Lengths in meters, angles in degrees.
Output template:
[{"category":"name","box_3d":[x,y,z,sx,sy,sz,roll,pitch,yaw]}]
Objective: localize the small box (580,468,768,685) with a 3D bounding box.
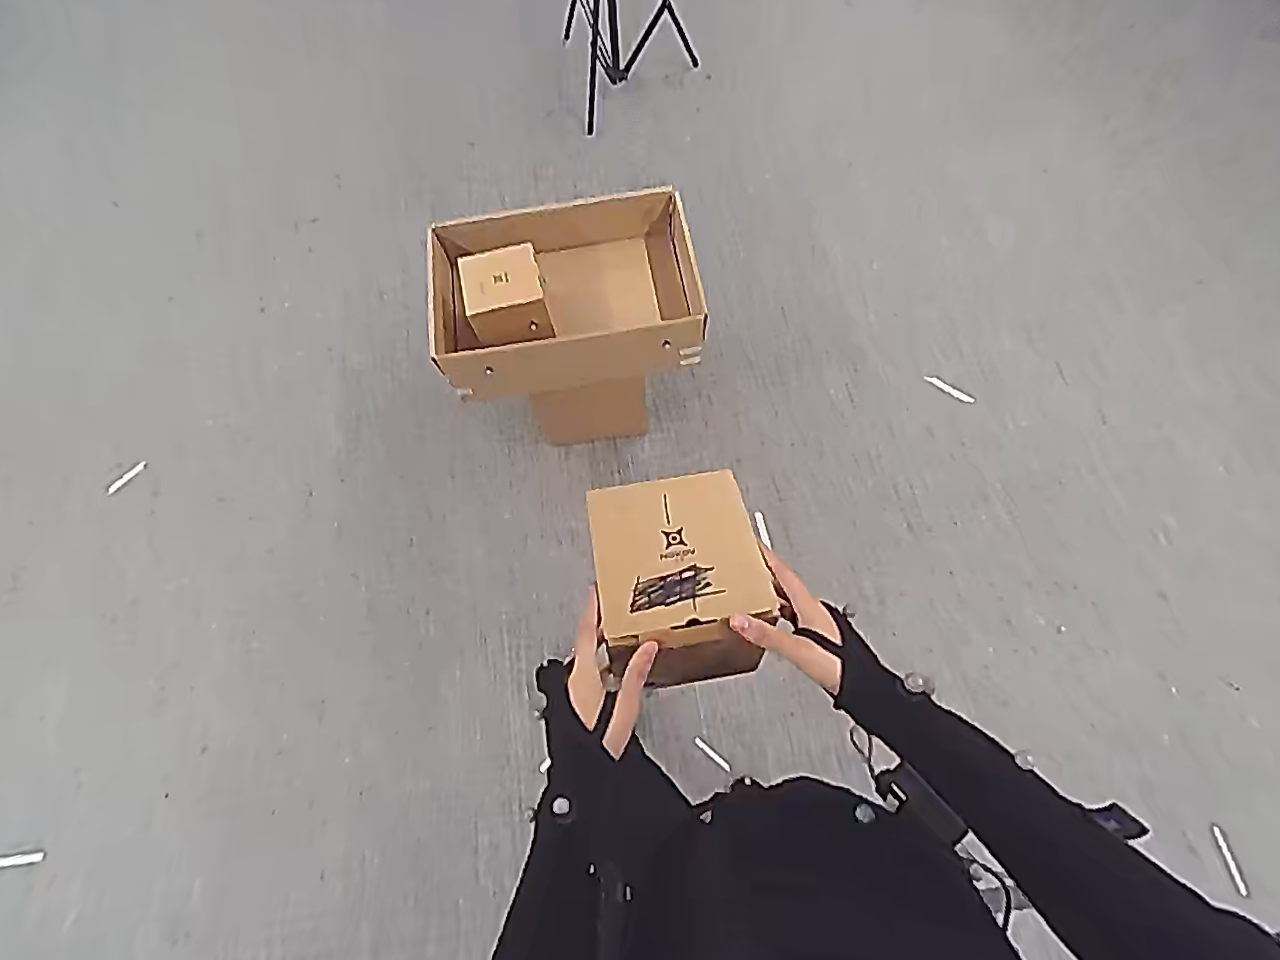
[{"category":"small box","box_3d":[0.031,0.115,0.605,0.168,0.176,0.179,-9,52,-4]}]

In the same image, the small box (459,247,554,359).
[{"category":"small box","box_3d":[-0.307,-0.412,1.277,0.179,0.176,0.168,-14,69,-2]}]
